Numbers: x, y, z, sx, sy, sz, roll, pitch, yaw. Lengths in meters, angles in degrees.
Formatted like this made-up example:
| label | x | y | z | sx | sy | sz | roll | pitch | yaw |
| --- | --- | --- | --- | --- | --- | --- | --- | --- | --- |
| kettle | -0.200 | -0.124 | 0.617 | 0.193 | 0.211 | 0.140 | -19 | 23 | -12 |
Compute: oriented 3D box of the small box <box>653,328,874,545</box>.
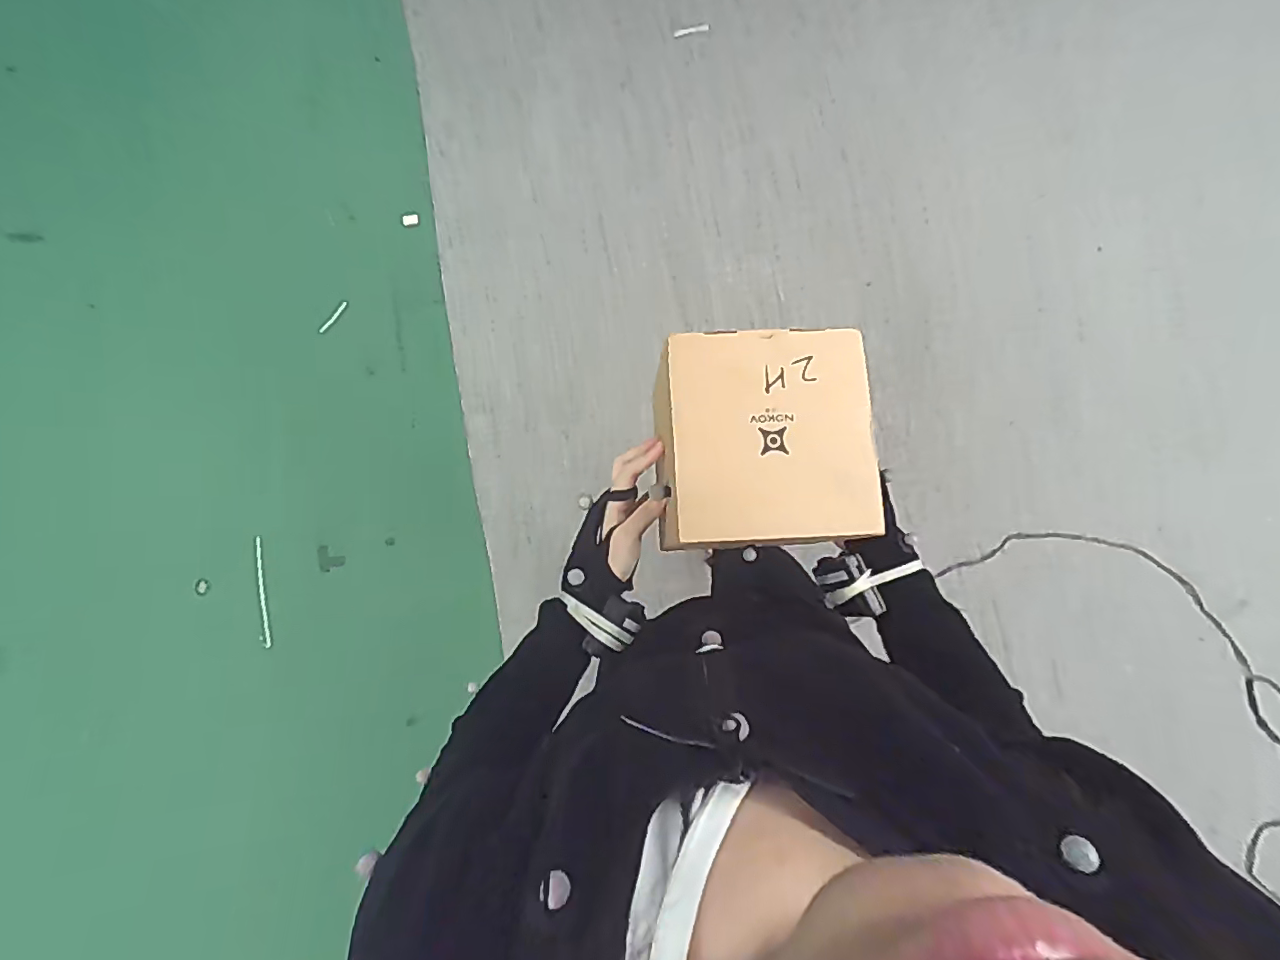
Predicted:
| label | x | y | z | sx | sy | sz | roll | pitch | yaw |
| --- | --- | --- | --- | --- | --- | --- | --- | --- | --- |
| small box | 0.101 | -0.028 | 0.520 | 0.168 | 0.176 | 0.179 | -2 | 80 | -3 |
